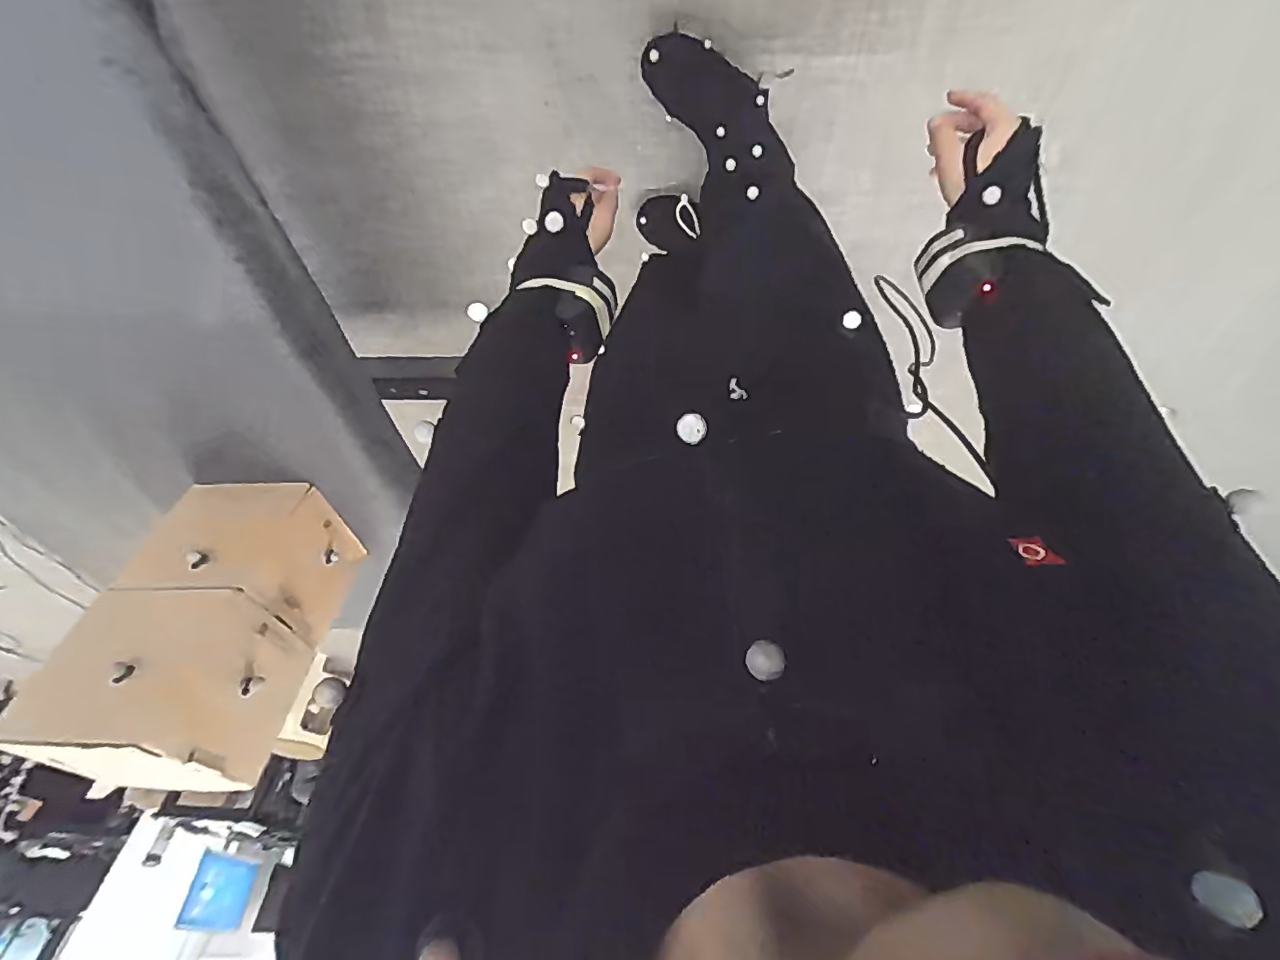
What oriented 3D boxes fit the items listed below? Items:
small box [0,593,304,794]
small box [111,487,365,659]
[{"bbox_3d":[-0.518,0.238,0.607,0.179,0.176,0.168,-3,137,6],"label":"small box"},{"bbox_3d":[-0.511,0.121,0.721,0.179,0.176,0.168,-1,137,6],"label":"small box"}]
